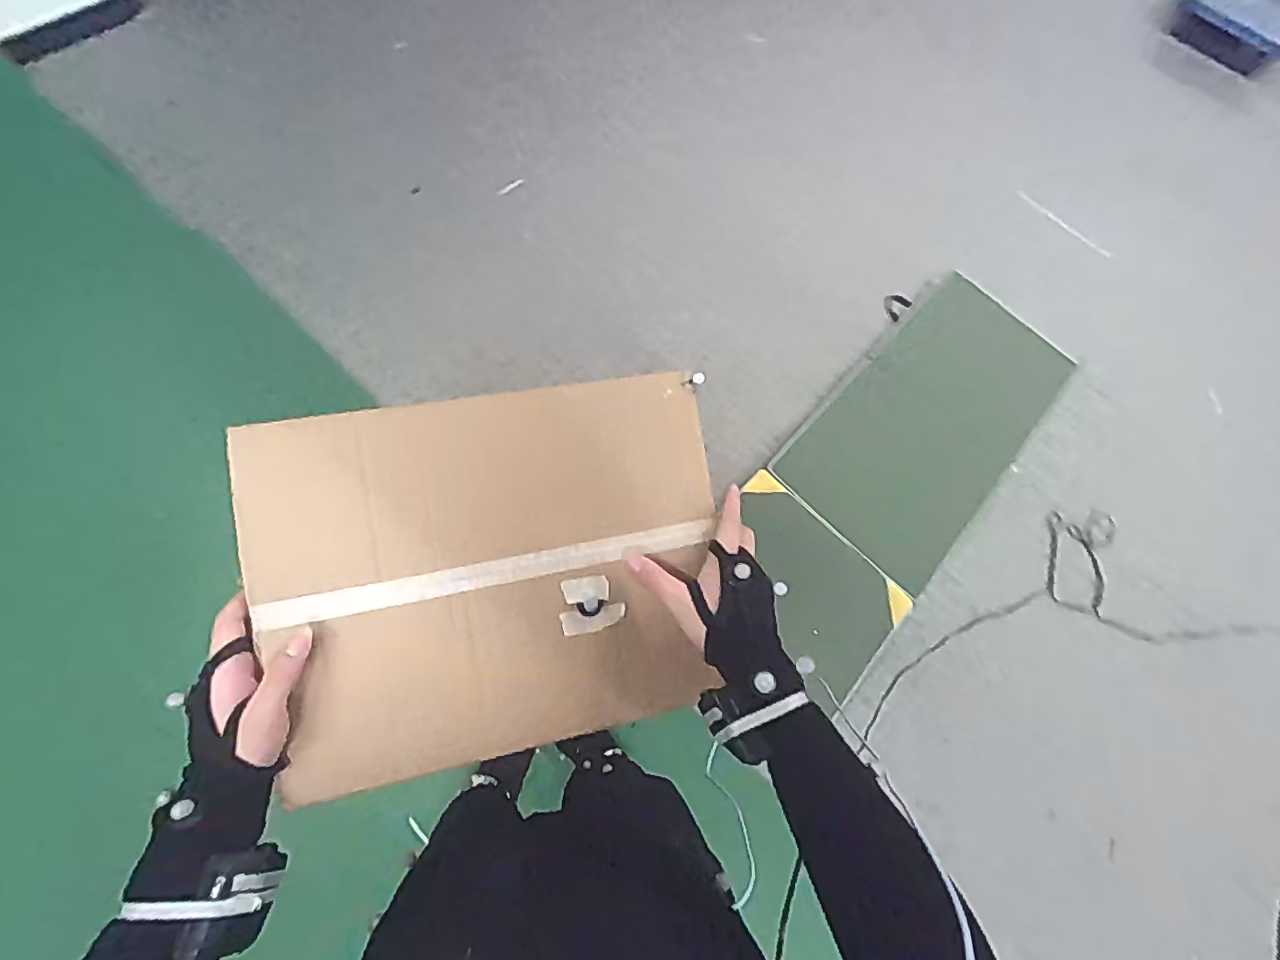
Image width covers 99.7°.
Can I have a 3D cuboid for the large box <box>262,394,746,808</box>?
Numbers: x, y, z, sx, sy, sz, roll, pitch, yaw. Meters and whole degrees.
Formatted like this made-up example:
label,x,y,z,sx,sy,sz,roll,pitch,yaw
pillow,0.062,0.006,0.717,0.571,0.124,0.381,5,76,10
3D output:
label,x,y,z,sx,sy,sz,roll,pitch,yaw
large box,-0.142,0.111,0.637,0.408,0.320,0.320,-8,85,-12
